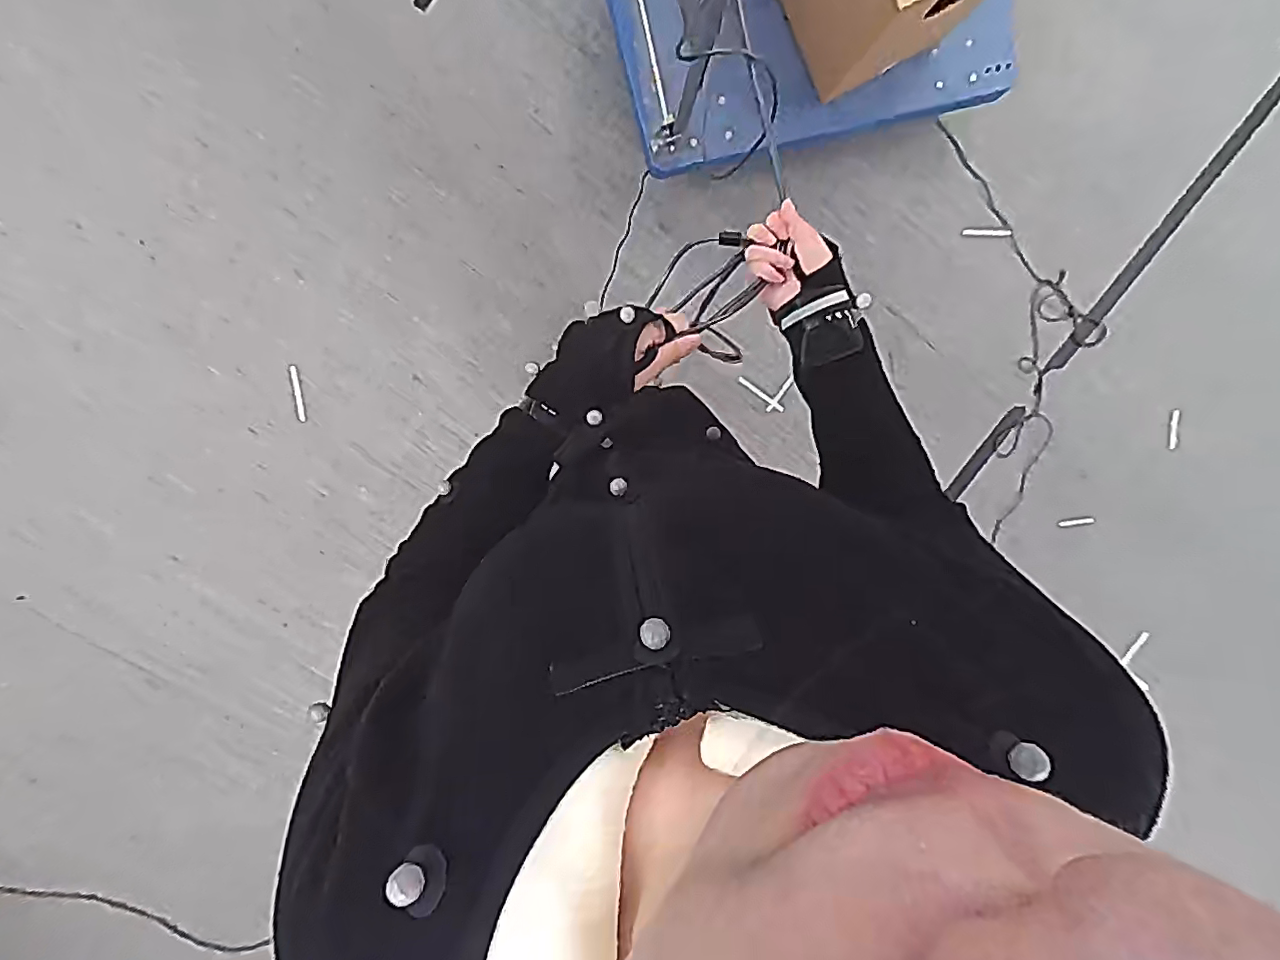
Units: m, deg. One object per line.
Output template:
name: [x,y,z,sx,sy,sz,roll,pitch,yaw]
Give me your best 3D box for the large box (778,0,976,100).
large box: [0.452,-1.055,1.018,0.320,0.320,0.408,-29,102,0]
